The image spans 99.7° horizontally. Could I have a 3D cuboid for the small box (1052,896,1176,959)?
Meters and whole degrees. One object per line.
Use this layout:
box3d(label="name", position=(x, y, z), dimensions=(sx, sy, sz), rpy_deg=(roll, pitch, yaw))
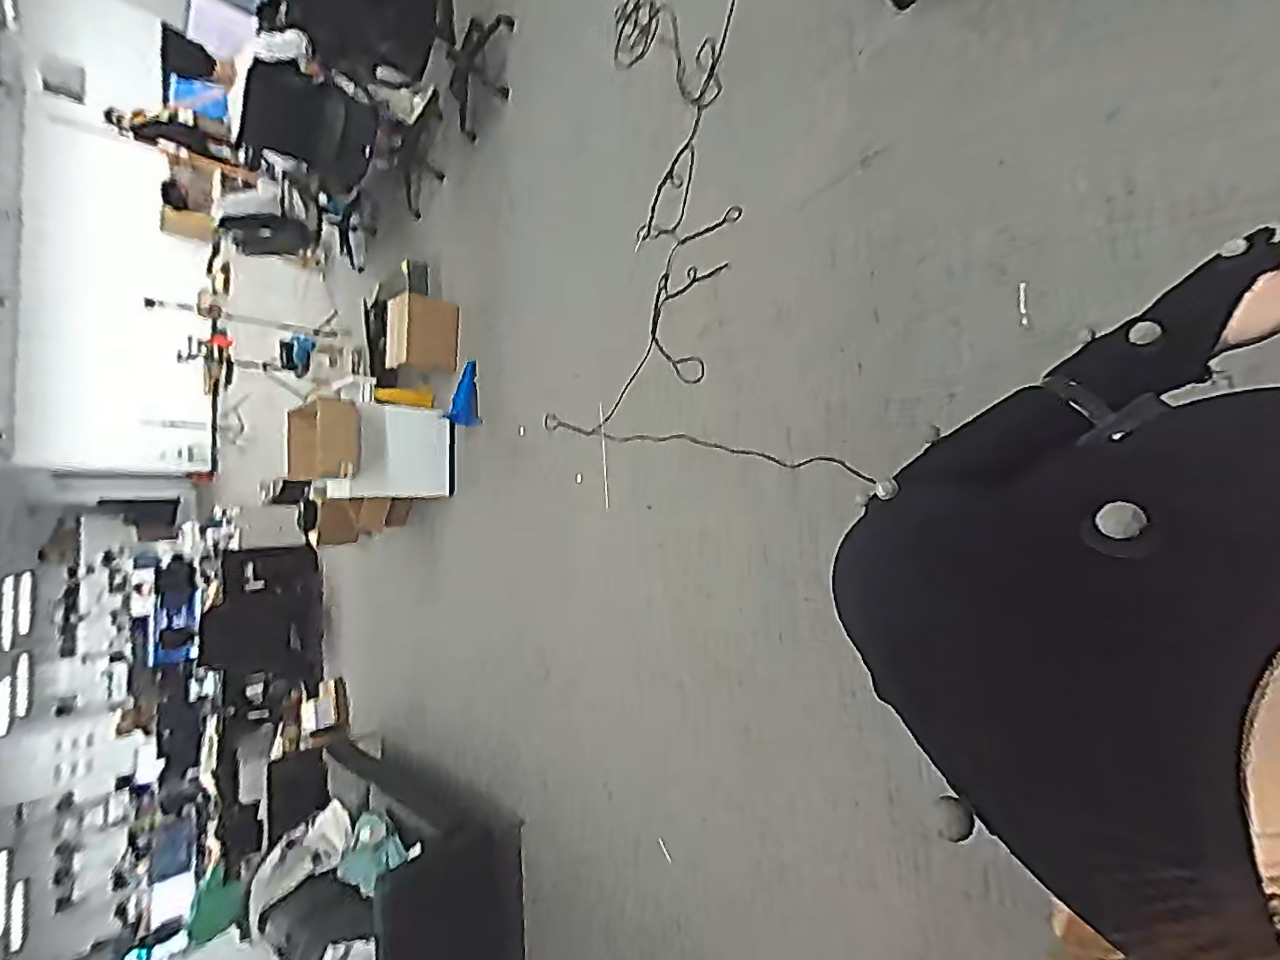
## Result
box3d(label="small box", position=(0.839, 0.905, 0.962), dimensions=(0.168, 0.176, 0.179), rpy_deg=(12, 97, 44))
